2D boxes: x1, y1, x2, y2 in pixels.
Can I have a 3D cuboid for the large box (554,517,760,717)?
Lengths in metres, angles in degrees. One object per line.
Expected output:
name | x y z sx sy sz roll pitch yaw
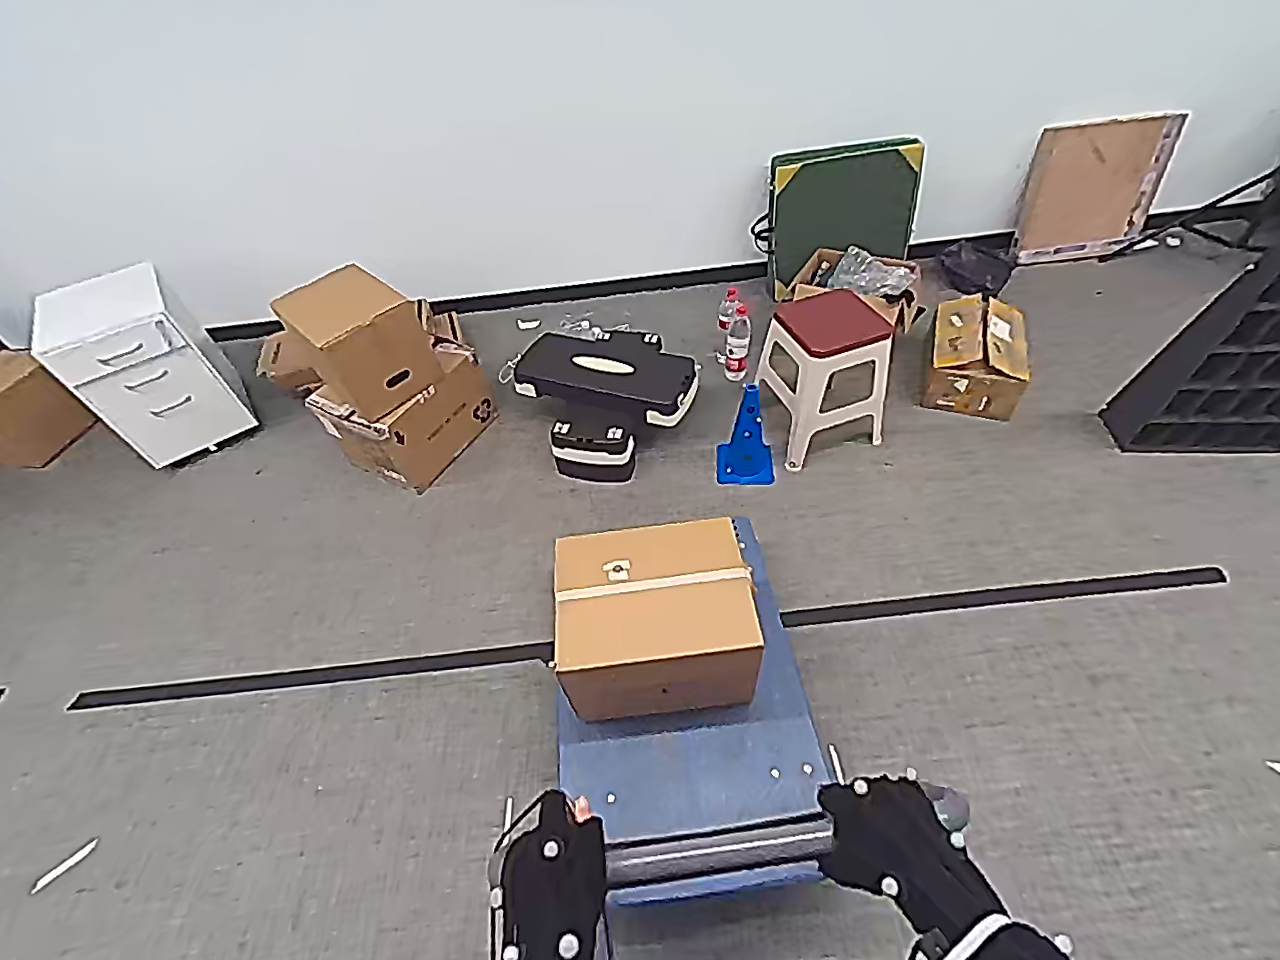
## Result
large box | 0.034 0.322 1.245 0.408 0.320 0.320 -8 49 0
